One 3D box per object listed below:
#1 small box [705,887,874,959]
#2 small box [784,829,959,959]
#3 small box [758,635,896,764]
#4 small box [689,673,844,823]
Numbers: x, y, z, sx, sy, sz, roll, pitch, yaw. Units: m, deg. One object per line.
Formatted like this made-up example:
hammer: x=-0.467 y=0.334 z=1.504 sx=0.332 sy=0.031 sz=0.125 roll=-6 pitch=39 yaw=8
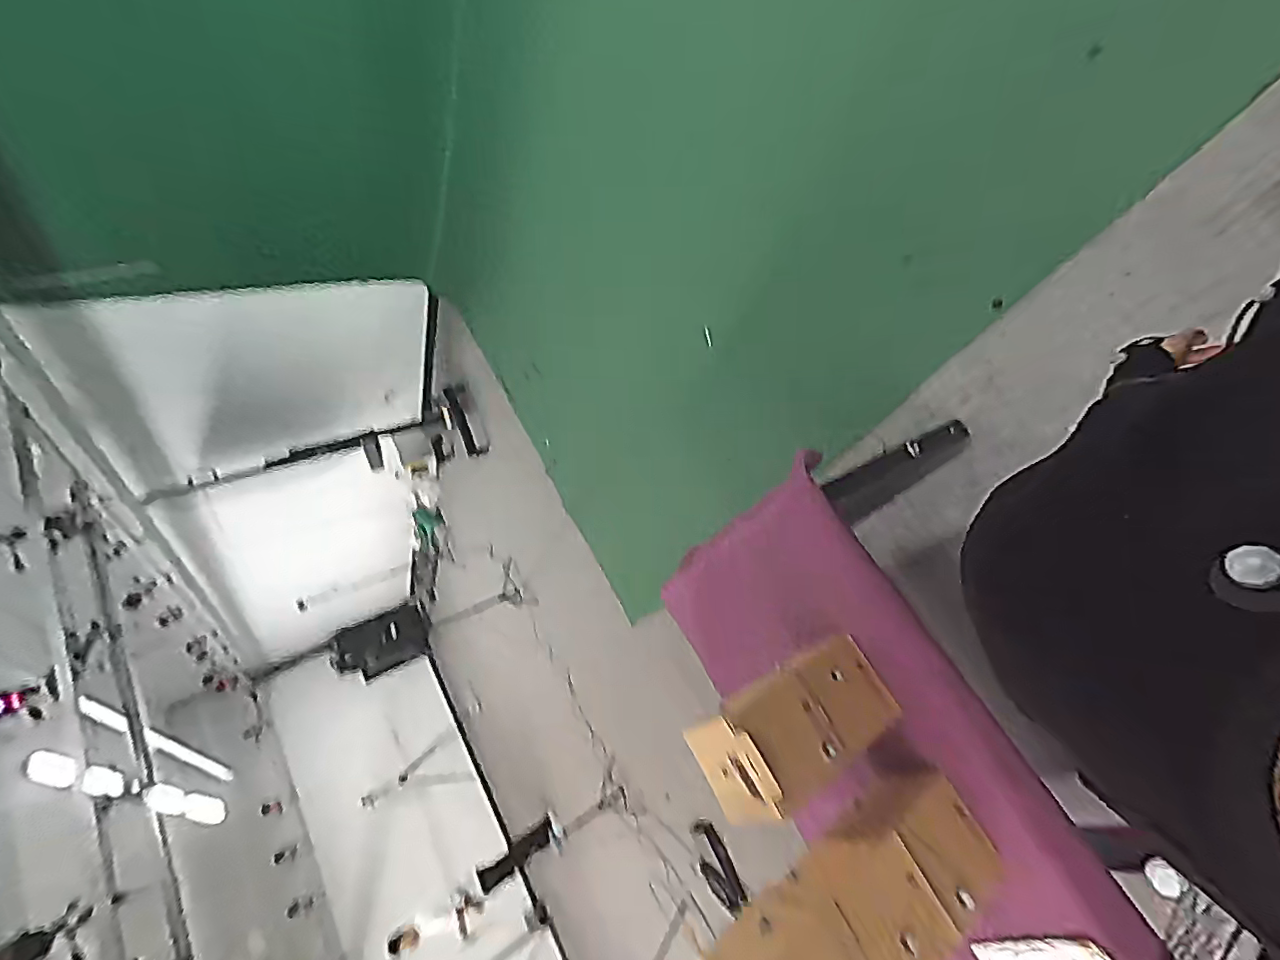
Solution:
small box: x=0.230 y=0.720 z=0.758 sx=0.179 sy=0.176 sz=0.168 roll=59 pitch=147 yaw=15
small box: x=0.362 y=0.681 z=0.850 sx=0.168 sy=0.176 sz=0.179 roll=58 pitch=146 yaw=17
small box: x=0.352 y=0.419 z=1.026 sx=0.168 sy=0.176 sz=0.179 roll=59 pitch=146 yaw=17
small box: x=0.222 y=0.460 z=0.936 sx=0.168 sy=0.176 sz=0.179 roll=58 pitch=146 yaw=19
